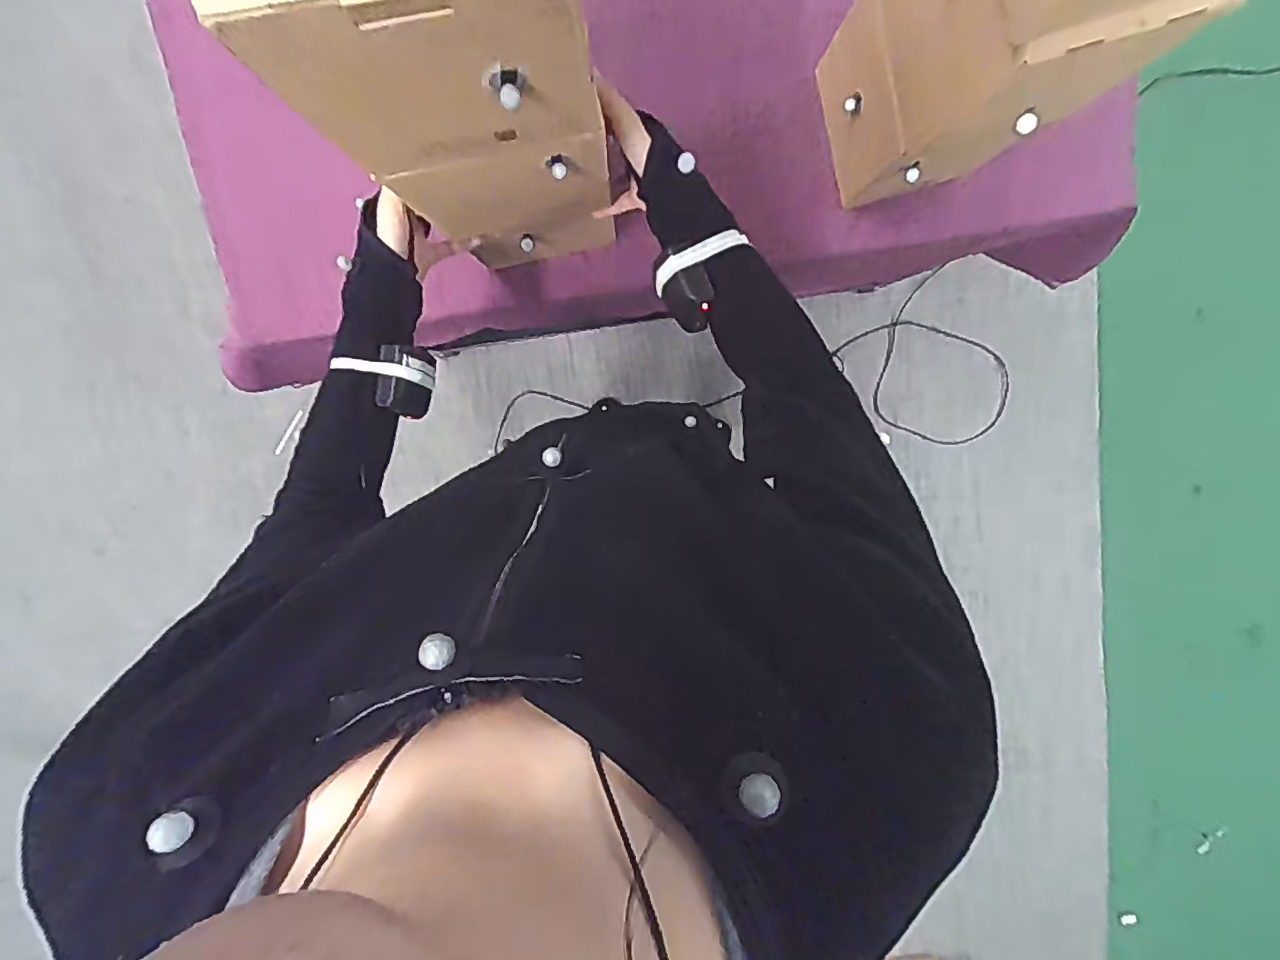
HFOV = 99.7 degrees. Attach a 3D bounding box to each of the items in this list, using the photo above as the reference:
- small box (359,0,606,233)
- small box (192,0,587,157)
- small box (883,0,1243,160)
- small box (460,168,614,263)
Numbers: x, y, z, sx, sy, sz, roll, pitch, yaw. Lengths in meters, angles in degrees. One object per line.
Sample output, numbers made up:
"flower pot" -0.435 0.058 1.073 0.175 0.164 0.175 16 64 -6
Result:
"small box" -0.131 -0.328 0.458 0.179 0.176 0.168 -12 100 0
"small box" -0.125 -0.304 0.297 0.168 0.176 0.179 -9 99 -1
"small box" 0.326 -0.409 0.451 0.168 0.176 0.179 -15 99 2
"small box" -0.133 -0.362 0.617 0.179 0.176 0.168 -12 100 1
